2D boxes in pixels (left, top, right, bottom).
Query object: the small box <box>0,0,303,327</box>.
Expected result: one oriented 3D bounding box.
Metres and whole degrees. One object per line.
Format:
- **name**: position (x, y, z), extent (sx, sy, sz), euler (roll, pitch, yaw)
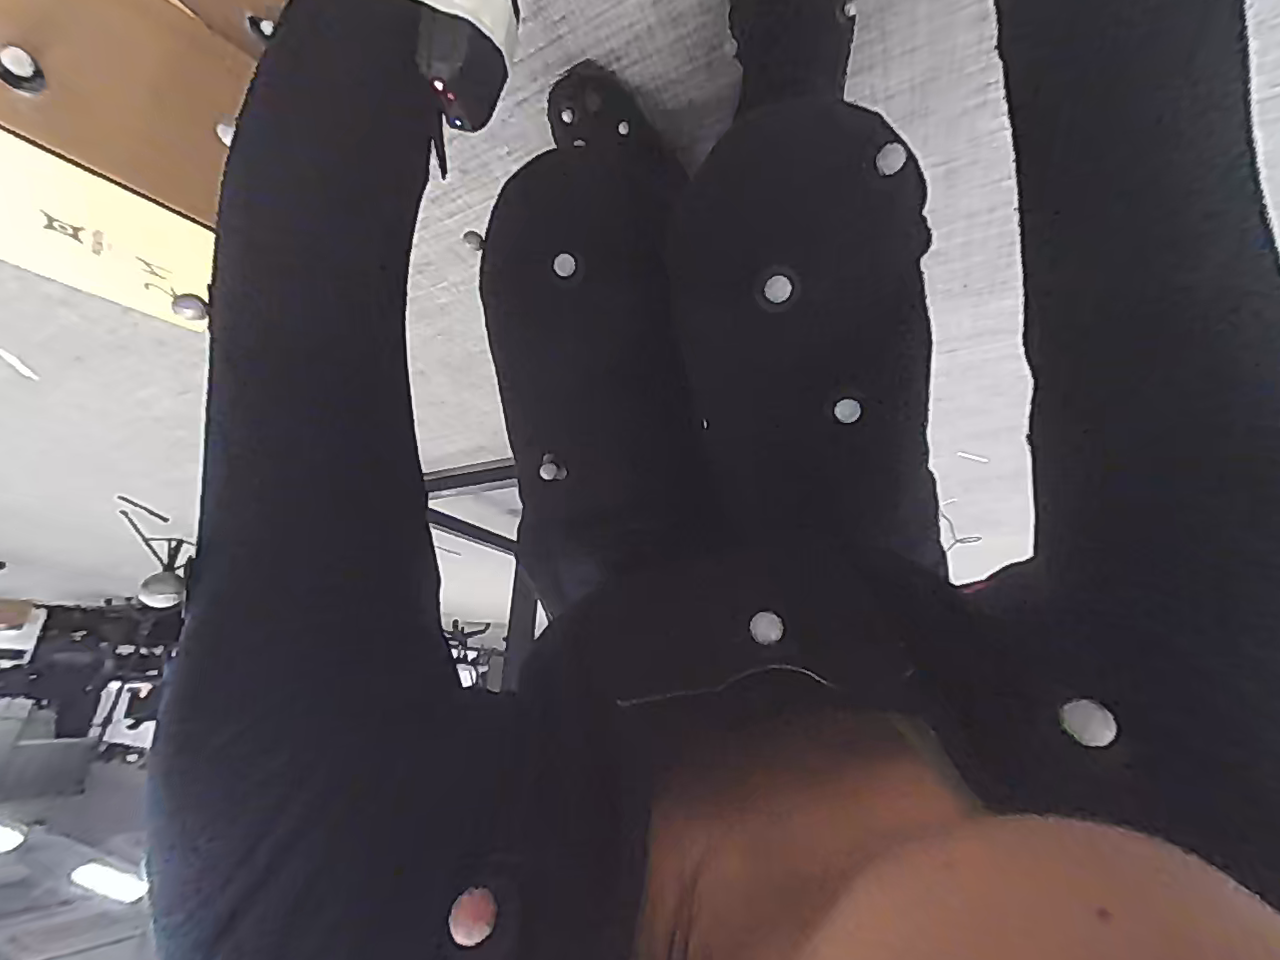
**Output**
- **small box**: position (-0.407, -0.260, 0.431), extent (0.168, 0.176, 0.179), euler (-13, 156, 39)
